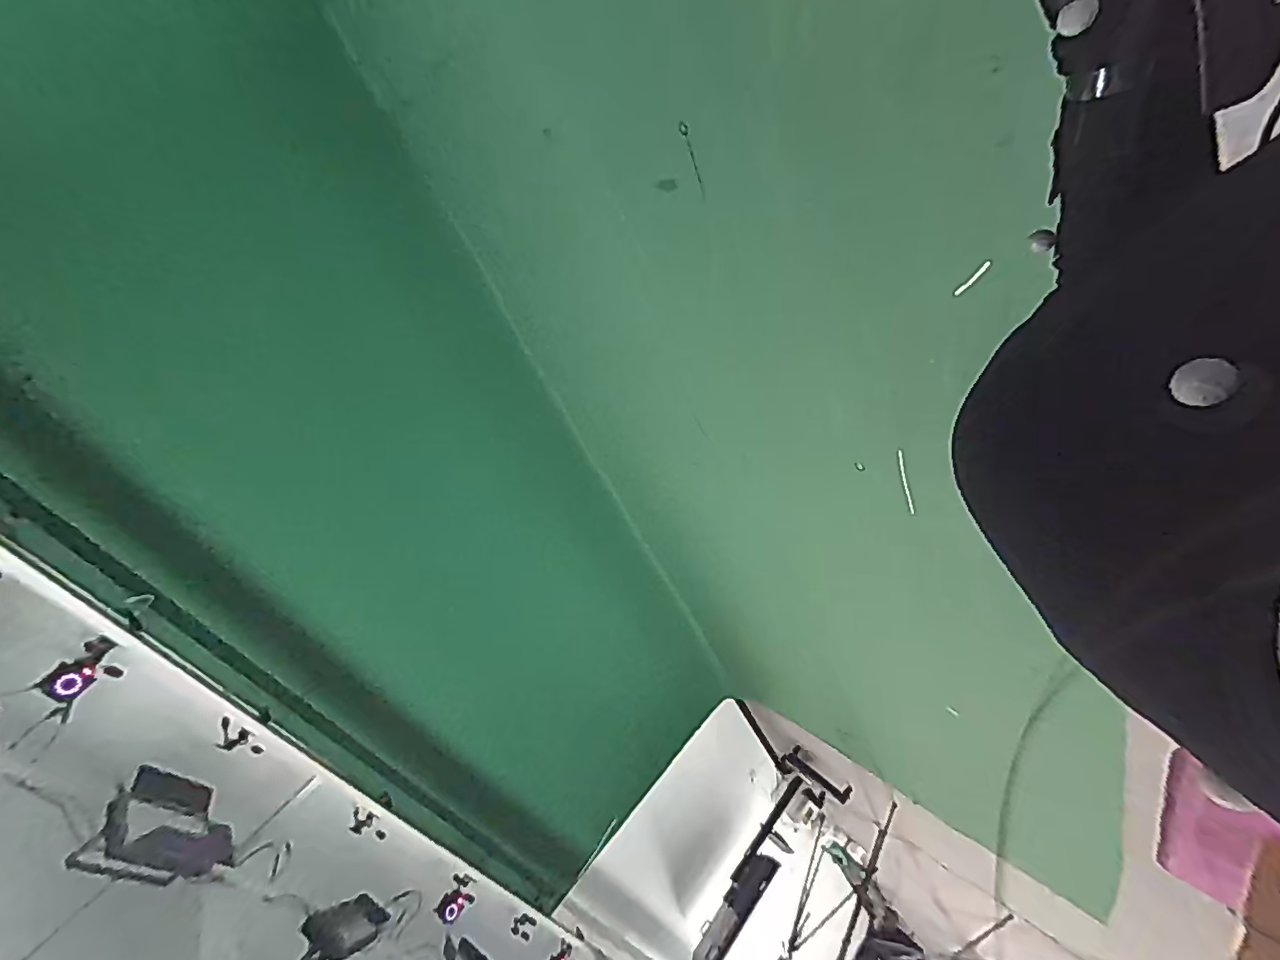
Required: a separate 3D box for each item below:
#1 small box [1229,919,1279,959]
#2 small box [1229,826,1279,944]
[{"bbox_3d":[1.003,0.818,0.812,0.168,0.176,0.179,19,144,50],"label":"small box"},{"bbox_3d":[1.110,0.713,0.878,0.168,0.176,0.179,18,145,50],"label":"small box"}]
